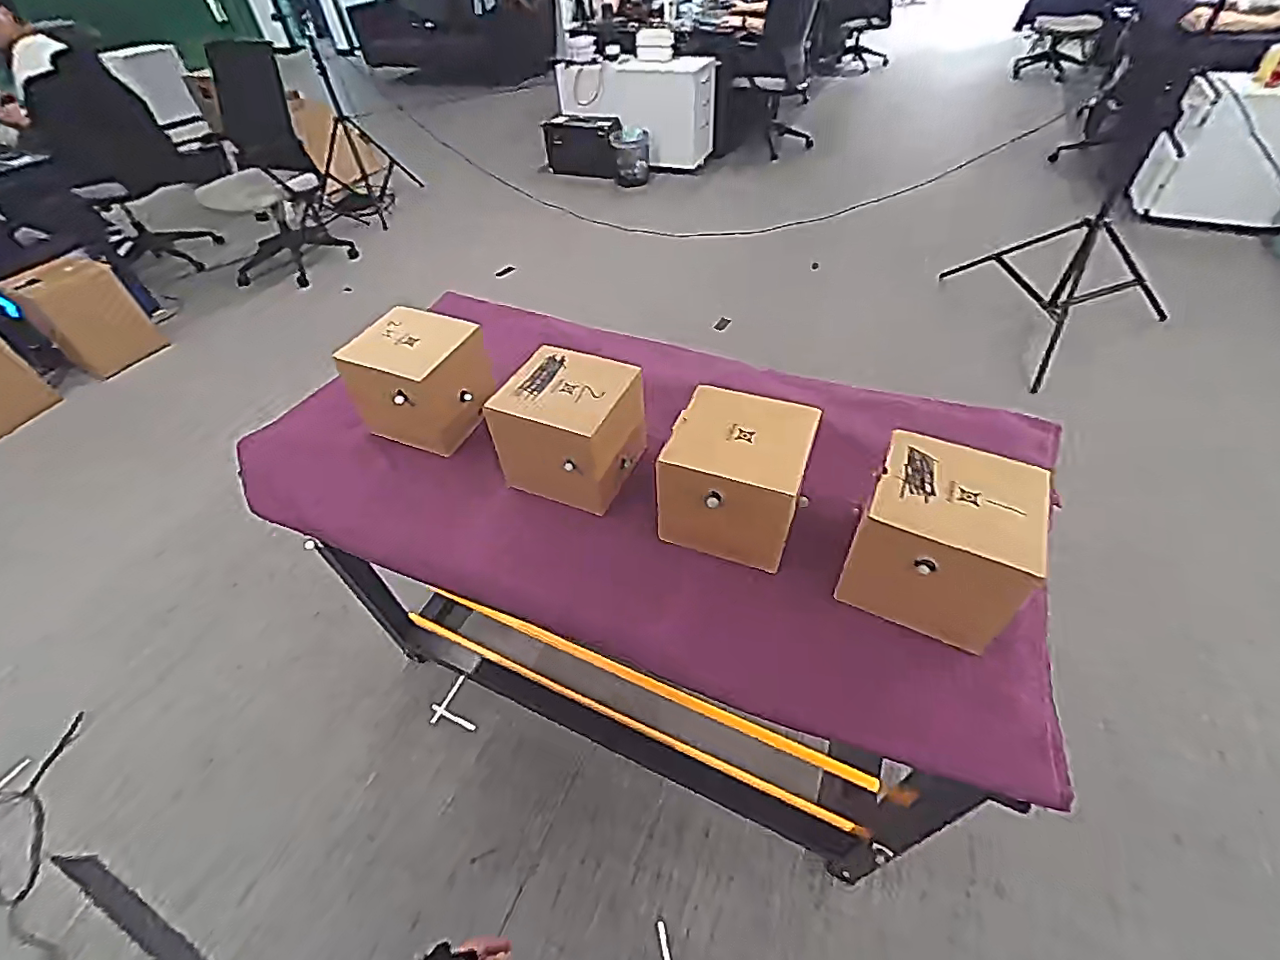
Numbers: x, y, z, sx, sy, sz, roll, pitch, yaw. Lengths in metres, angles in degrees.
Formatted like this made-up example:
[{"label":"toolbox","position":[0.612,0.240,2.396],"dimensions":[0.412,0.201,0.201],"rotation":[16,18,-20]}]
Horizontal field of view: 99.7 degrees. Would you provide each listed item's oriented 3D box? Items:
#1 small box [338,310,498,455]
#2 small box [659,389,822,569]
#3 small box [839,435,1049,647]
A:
[{"label":"small box","position":[-0.373,-0.167,0.947],"dimensions":[0.179,0.176,0.168],"rotation":[17,50,16]},{"label":"small box","position":[0.138,0.001,0.761],"dimensions":[0.179,0.176,0.168],"rotation":[15,50,18]},{"label":"small box","position":[0.364,0.076,0.668],"dimensions":[0.179,0.176,0.168],"rotation":[20,51,21]}]
